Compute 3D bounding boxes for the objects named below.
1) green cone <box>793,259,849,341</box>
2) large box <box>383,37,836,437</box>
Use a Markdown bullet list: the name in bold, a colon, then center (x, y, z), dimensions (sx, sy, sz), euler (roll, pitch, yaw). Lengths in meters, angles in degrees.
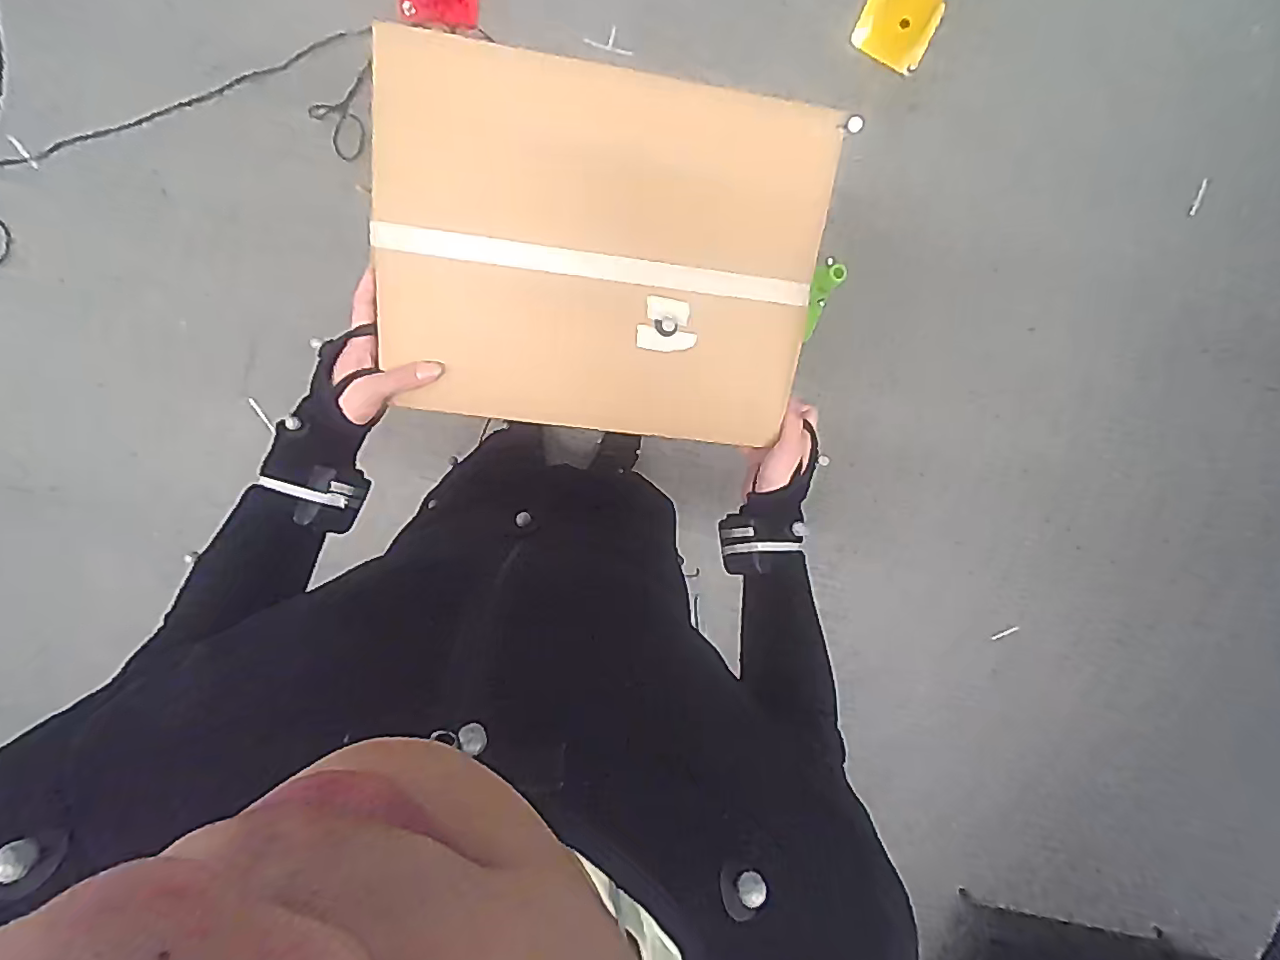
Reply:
- **green cone**: center (0.444, -0.499, 1.396), dimensions (0.200, 0.368, 0.202), euler (21, 97, -6)
- **large box**: center (-0.049, -0.252, 0.653), dimensions (0.408, 0.320, 0.320), euler (5, 109, -8)
